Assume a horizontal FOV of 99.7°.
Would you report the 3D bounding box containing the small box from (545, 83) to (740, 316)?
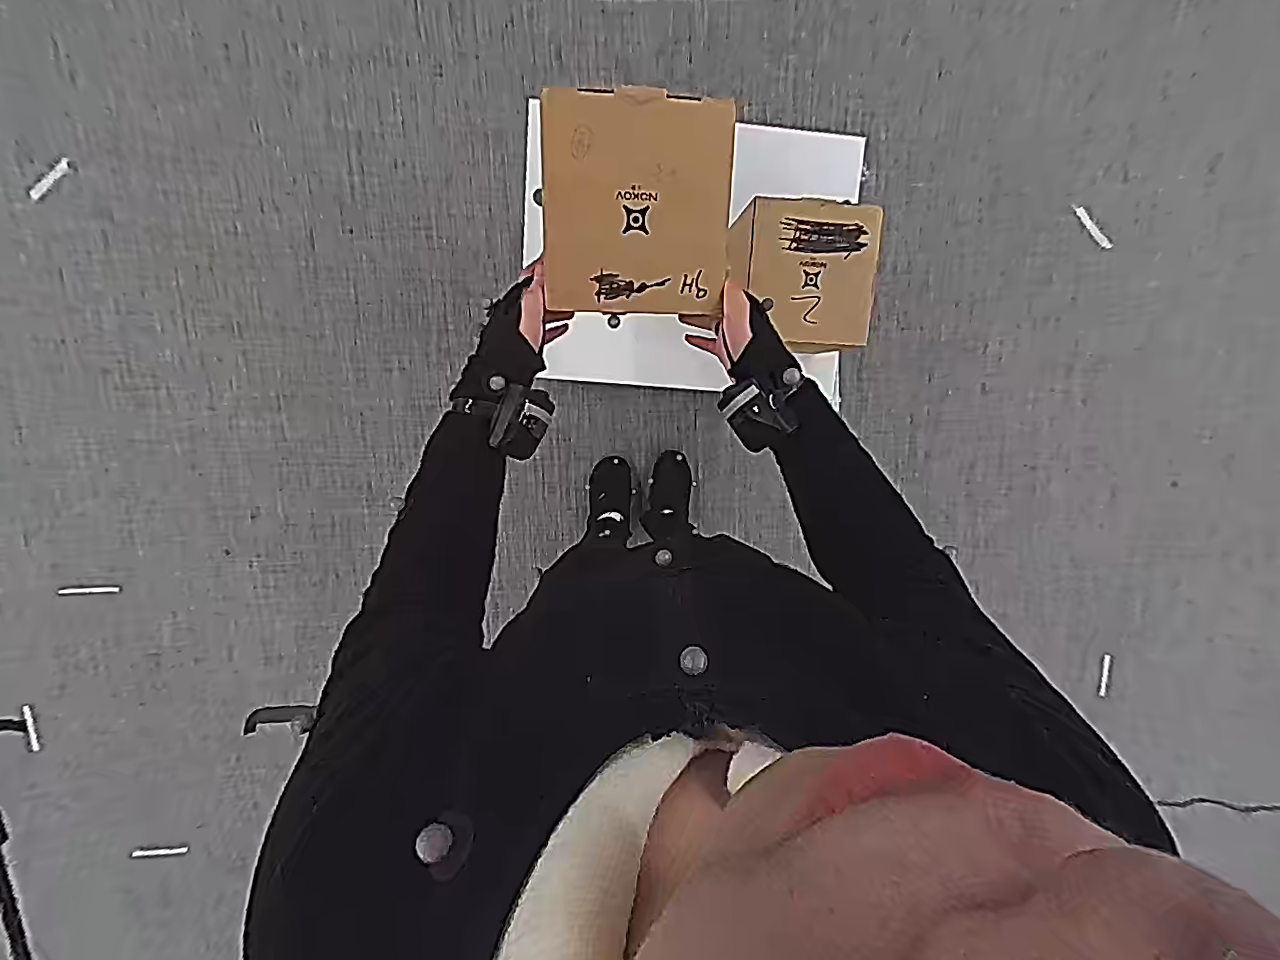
[{"bbox_3d":[-0.009,-0.260,0.542,0.168,0.176,0.179,0,109,-6],"label":"small box"}]
